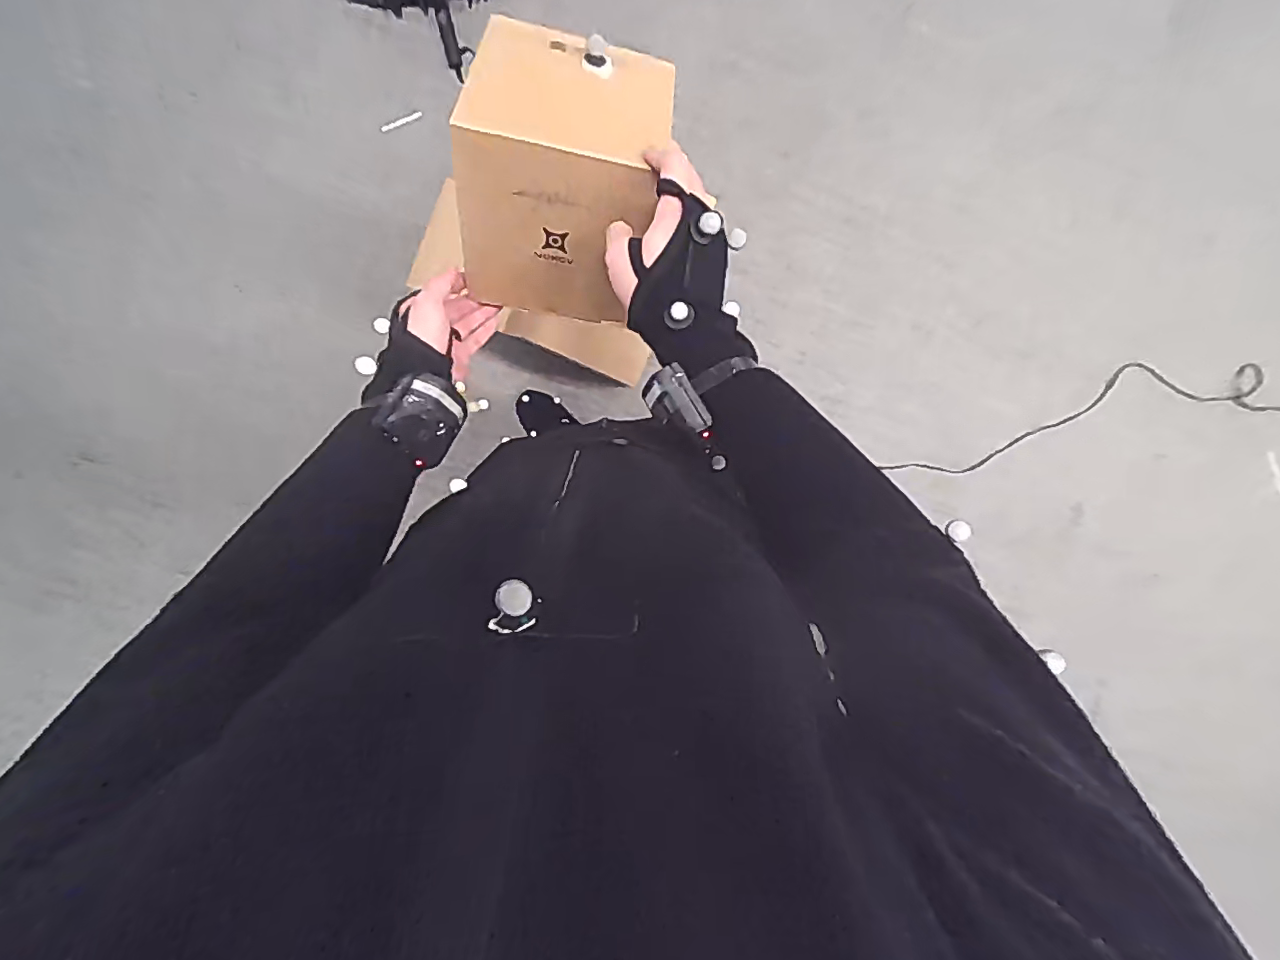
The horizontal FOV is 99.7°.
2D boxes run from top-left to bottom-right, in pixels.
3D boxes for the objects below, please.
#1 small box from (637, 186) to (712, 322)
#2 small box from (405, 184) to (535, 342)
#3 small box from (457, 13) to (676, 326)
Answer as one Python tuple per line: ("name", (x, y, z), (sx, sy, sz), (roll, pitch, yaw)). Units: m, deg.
("small box", (0.000, -0.392, 0.922), (0.168, 0.176, 0.179), (26, 94, -7))
("small box", (-0.258, -0.350, 0.910), (0.168, 0.176, 0.179), (26, 98, -7))
("small box", (-0.063, -0.279, 0.505), (0.168, 0.179, 0.176), (7, 60, -9))
